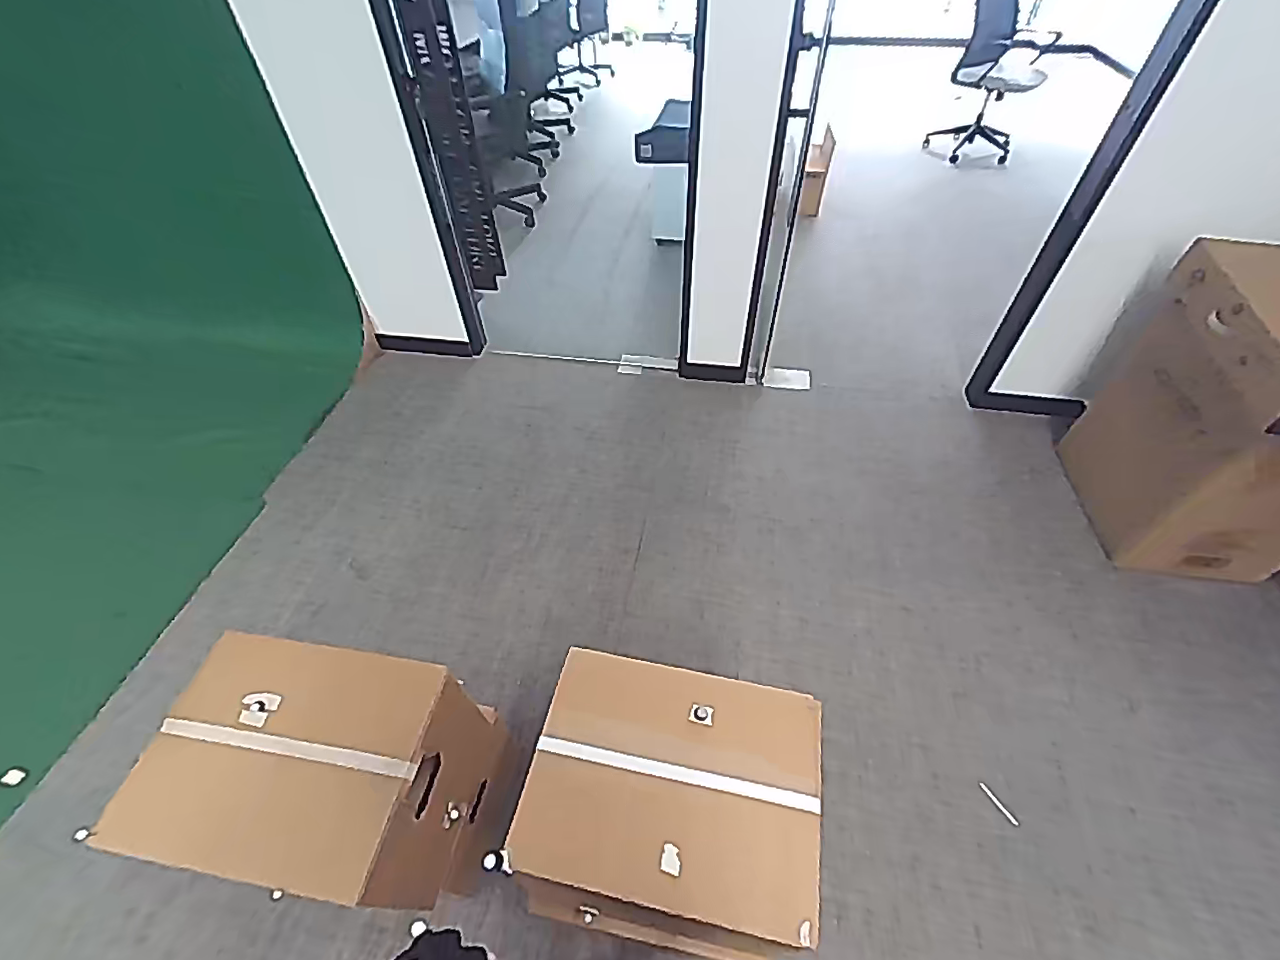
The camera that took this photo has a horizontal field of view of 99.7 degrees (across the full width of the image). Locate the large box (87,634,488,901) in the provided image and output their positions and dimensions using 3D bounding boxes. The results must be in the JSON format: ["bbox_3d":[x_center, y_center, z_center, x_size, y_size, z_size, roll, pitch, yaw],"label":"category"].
[{"bbox_3d":[-0.527,0.489,0.917,0.408,0.320,0.320,6,51,8],"label":"large box"}]
